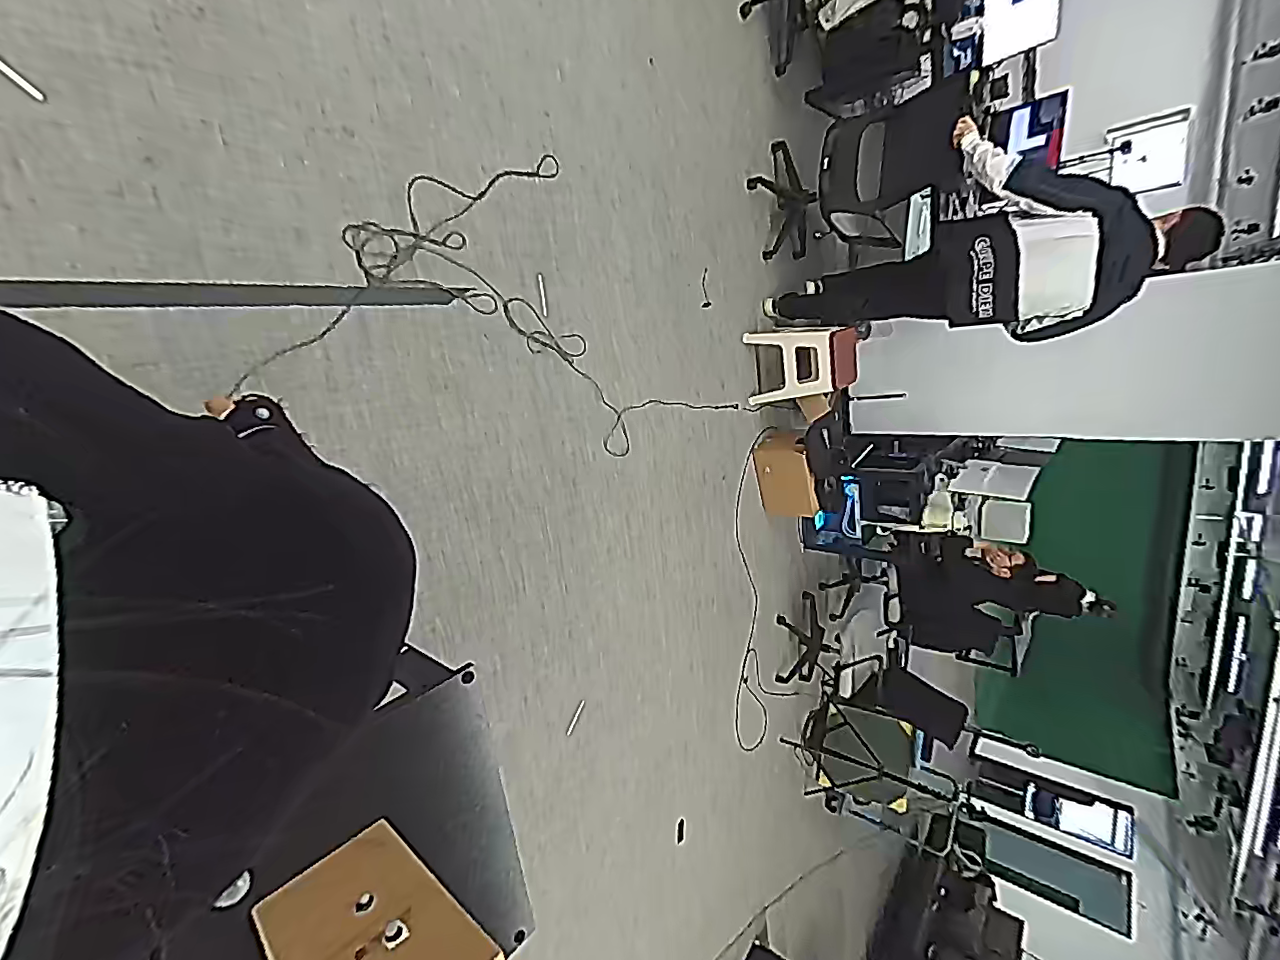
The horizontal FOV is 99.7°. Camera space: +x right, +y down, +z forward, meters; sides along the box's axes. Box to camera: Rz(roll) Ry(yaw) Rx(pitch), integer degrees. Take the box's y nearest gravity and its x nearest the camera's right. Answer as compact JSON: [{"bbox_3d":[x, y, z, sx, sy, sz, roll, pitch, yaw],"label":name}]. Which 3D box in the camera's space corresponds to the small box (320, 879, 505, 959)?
[{"bbox_3d":[-0.261,0.627,0.628,0.168,0.176,0.179,-23,109,-47],"label":"small box"}]

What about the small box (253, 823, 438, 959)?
[{"bbox_3d":[-0.384,0.619,0.733,0.179,0.176,0.168,-20,108,-45],"label":"small box"}]
